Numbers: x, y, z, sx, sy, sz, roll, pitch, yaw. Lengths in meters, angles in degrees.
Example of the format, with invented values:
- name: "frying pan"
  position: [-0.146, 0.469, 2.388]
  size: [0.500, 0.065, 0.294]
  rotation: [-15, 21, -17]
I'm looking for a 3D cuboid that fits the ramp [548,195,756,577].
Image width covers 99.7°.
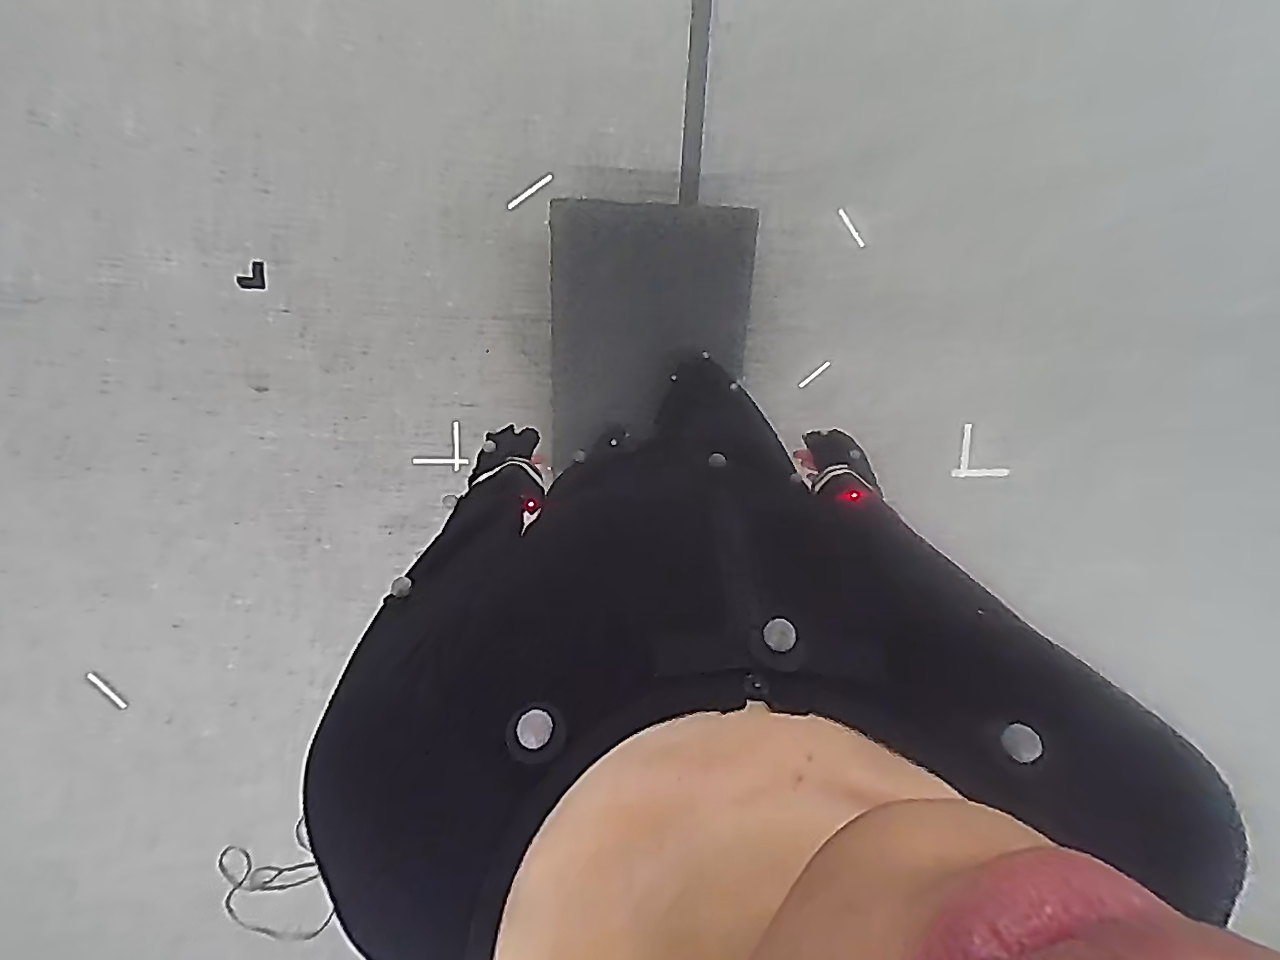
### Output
- name: "ramp"
  position: [0.014, -0.184, 1.422]
  size: [0.509, 0.206, 0.991]
  rotation: [-1, 100, -4]
